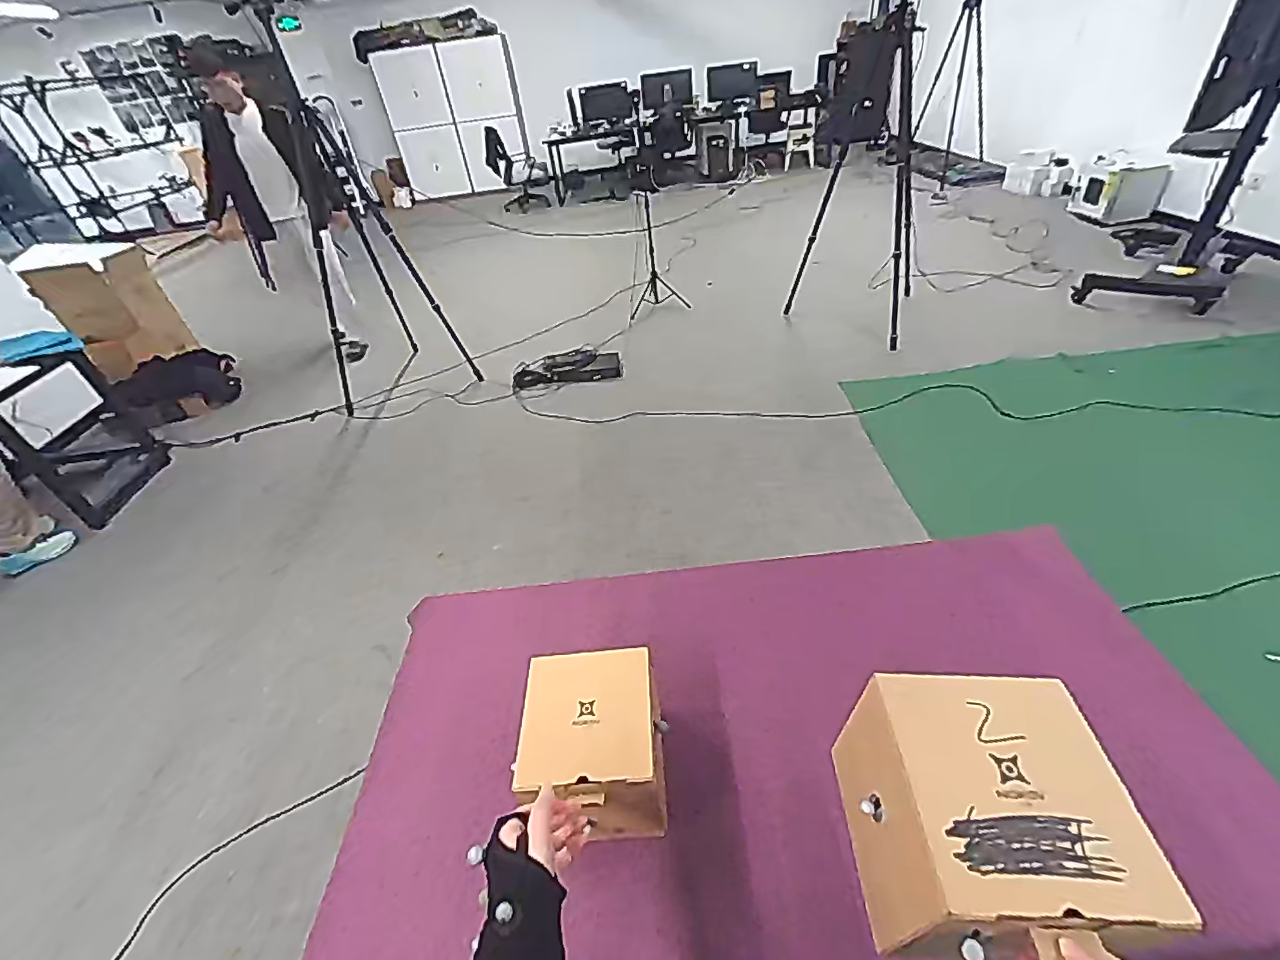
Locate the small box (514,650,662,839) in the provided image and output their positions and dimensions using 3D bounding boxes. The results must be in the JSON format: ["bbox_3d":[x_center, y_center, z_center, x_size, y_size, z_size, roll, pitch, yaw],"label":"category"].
[{"bbox_3d":[-0.061,0.362,0.744,0.168,0.176,0.179,-6,39,3],"label":"small box"}]
